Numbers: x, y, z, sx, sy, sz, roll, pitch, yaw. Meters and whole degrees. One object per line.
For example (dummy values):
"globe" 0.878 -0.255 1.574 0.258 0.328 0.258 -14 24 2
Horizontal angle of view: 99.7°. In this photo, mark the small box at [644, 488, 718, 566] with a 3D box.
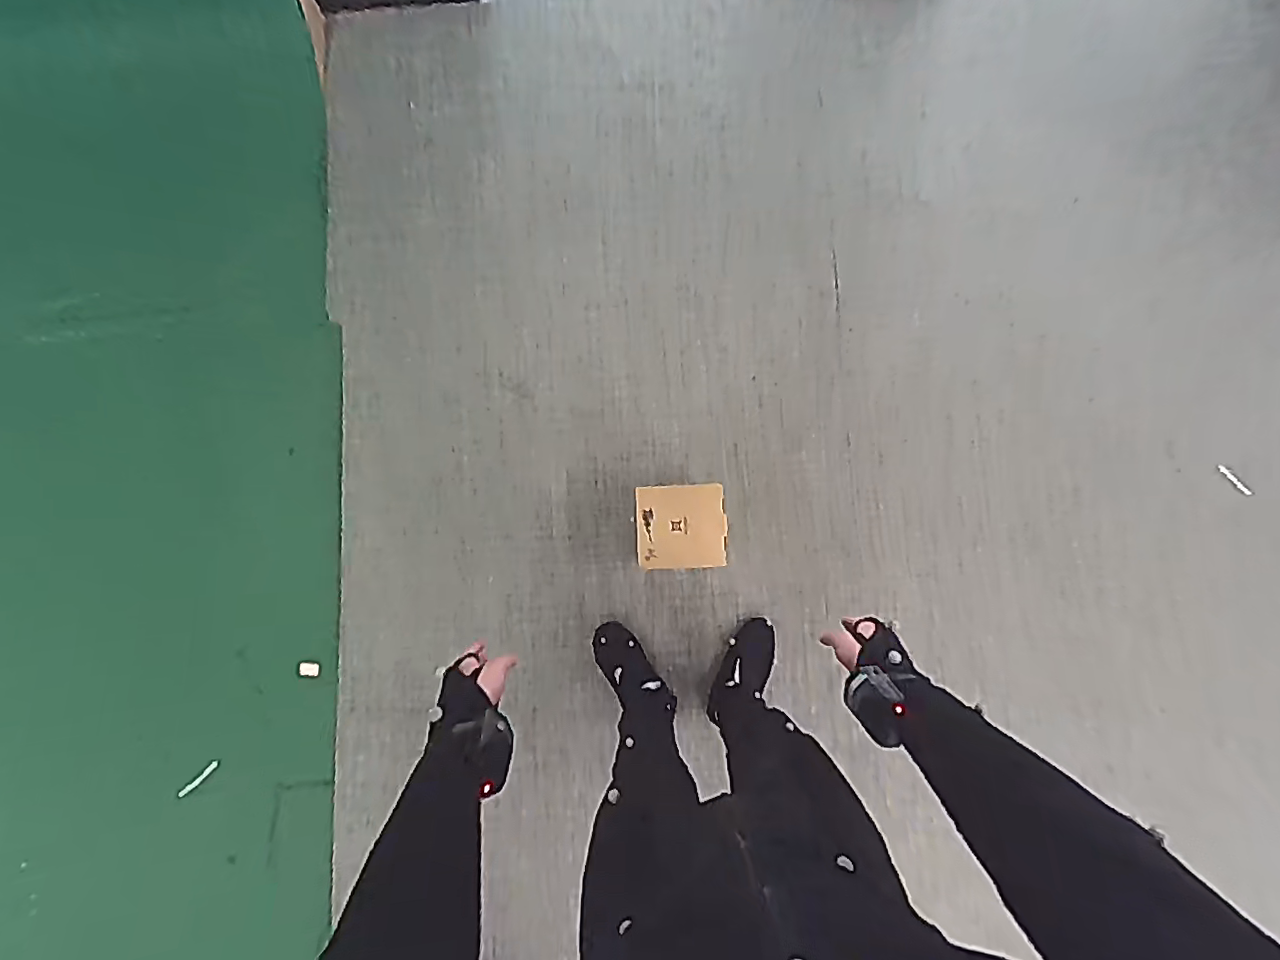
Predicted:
"small box" 0.095 0.113 1.290 0.168 0.176 0.179 0 85 3
